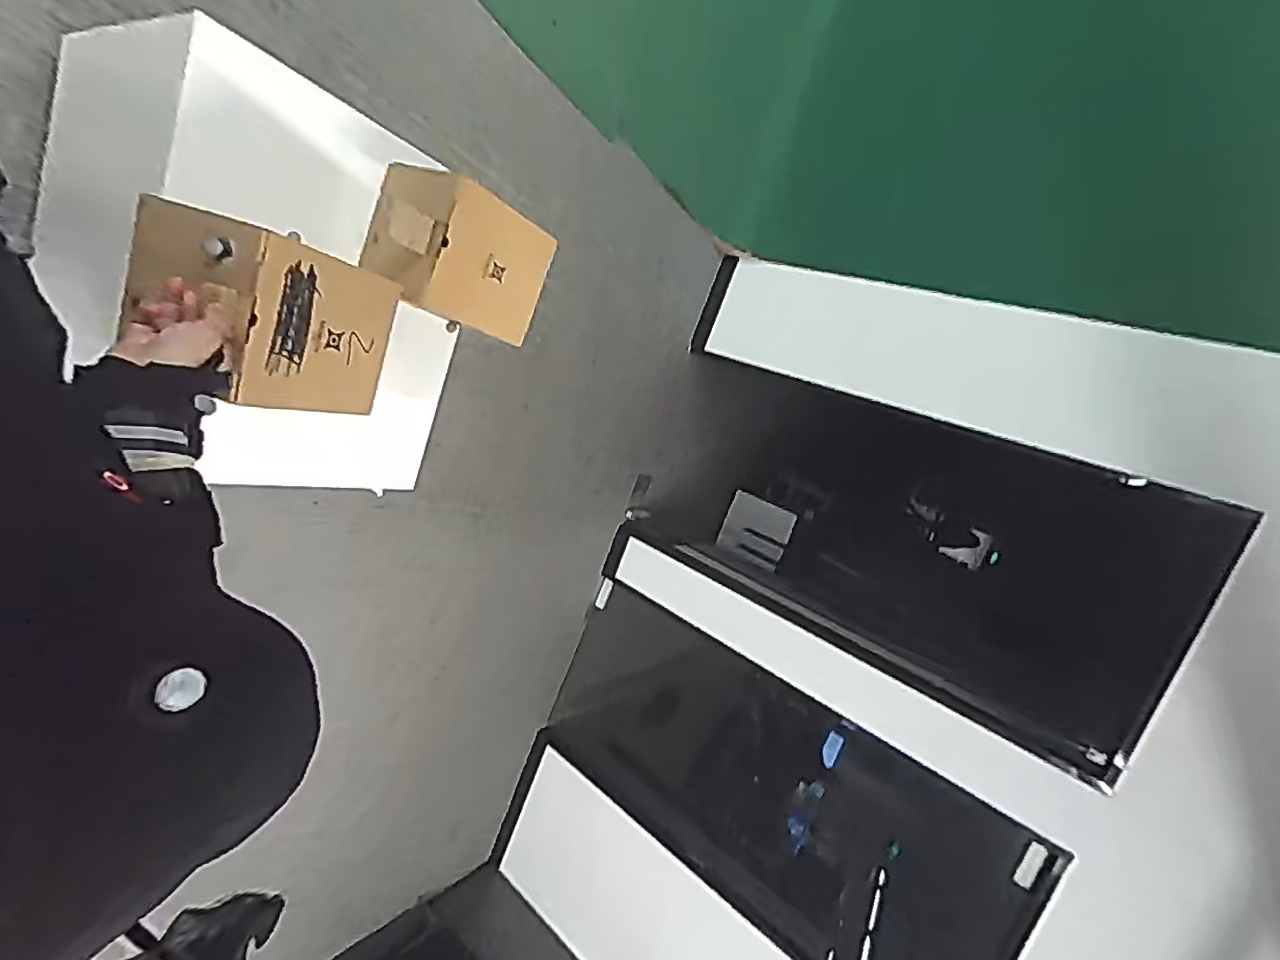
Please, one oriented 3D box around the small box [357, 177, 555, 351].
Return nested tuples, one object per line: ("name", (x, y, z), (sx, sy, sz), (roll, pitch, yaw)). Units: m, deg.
("small box", (-0.260, -0.307, 0.772), (0.179, 0.176, 0.168), (10, 104, -58))
